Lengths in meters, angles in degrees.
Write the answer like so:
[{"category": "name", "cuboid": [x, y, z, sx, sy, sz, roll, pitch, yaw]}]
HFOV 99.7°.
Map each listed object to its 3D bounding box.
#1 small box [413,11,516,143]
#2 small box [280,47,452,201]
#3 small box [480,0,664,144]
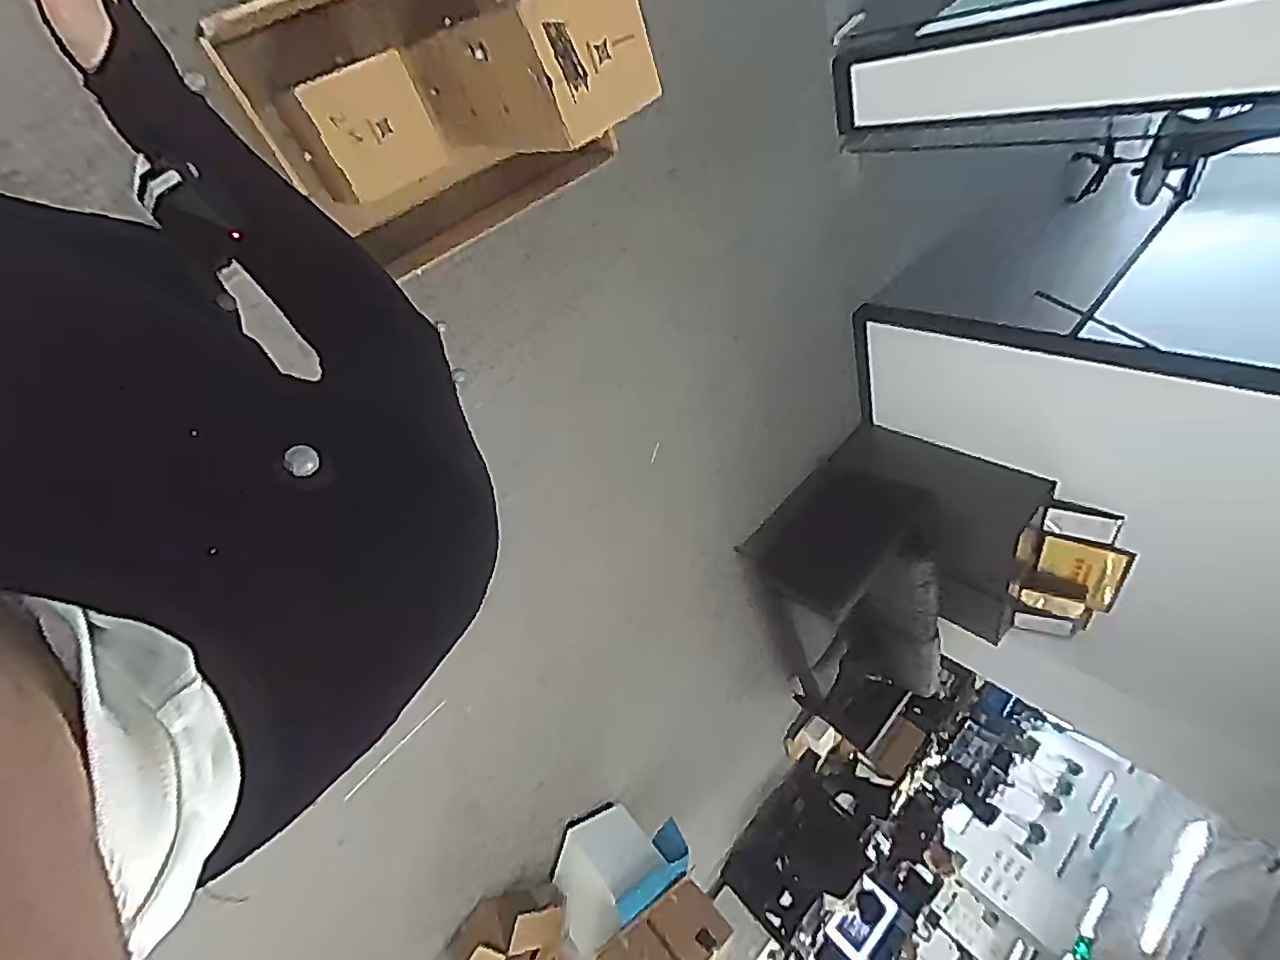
[{"category": "small box", "cuboid": [-0.281, -0.746, 0.996, 0.179, 0.176, 0.168, -39, 134, -16]}, {"category": "small box", "cuboid": [-0.459, -0.590, 0.907, 0.179, 0.176, 0.168, -41, 134, -20]}, {"category": "small box", "cuboid": [-0.101, -0.598, 0.763, 0.179, 0.176, 0.168, -41, 134, -15]}]
